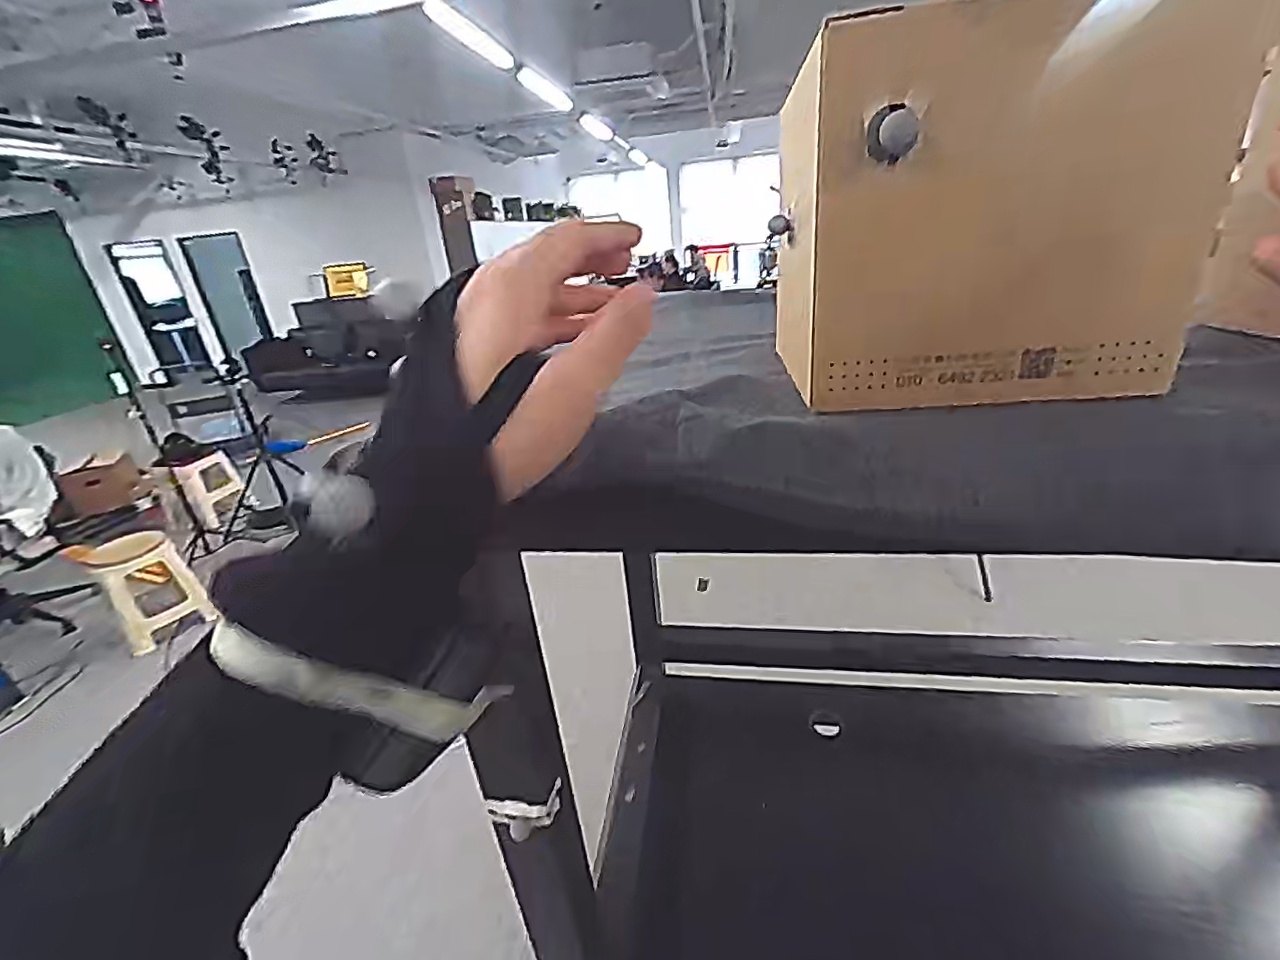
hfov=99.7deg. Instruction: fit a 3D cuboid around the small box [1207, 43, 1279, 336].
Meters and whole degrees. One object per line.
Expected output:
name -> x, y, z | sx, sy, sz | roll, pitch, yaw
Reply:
small box -> 0.455, -0.156, 0.263 | 0.168, 0.176, 0.179 | -1, 22, 10
